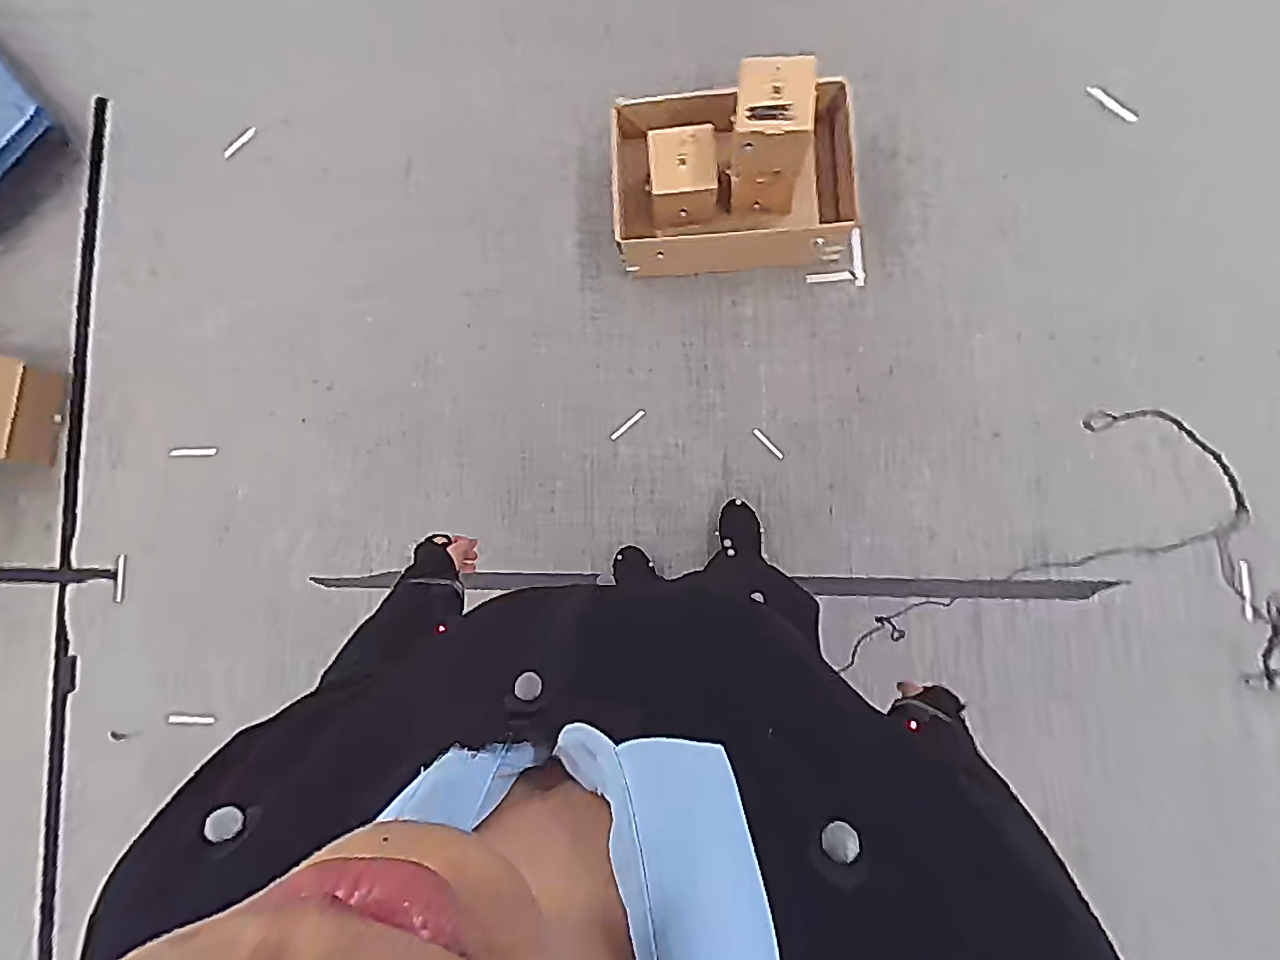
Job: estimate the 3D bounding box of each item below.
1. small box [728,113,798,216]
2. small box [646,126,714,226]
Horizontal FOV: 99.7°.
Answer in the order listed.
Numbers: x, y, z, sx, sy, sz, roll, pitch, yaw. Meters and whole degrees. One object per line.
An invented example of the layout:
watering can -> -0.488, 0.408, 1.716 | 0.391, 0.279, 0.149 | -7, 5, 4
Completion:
small box -> 0.321, -0.832, 1.436 | 0.168, 0.176, 0.179 | 2, 87, 8
small box -> 0.107, -0.804, 1.451 | 0.168, 0.176, 0.179 | -4, 85, 3
